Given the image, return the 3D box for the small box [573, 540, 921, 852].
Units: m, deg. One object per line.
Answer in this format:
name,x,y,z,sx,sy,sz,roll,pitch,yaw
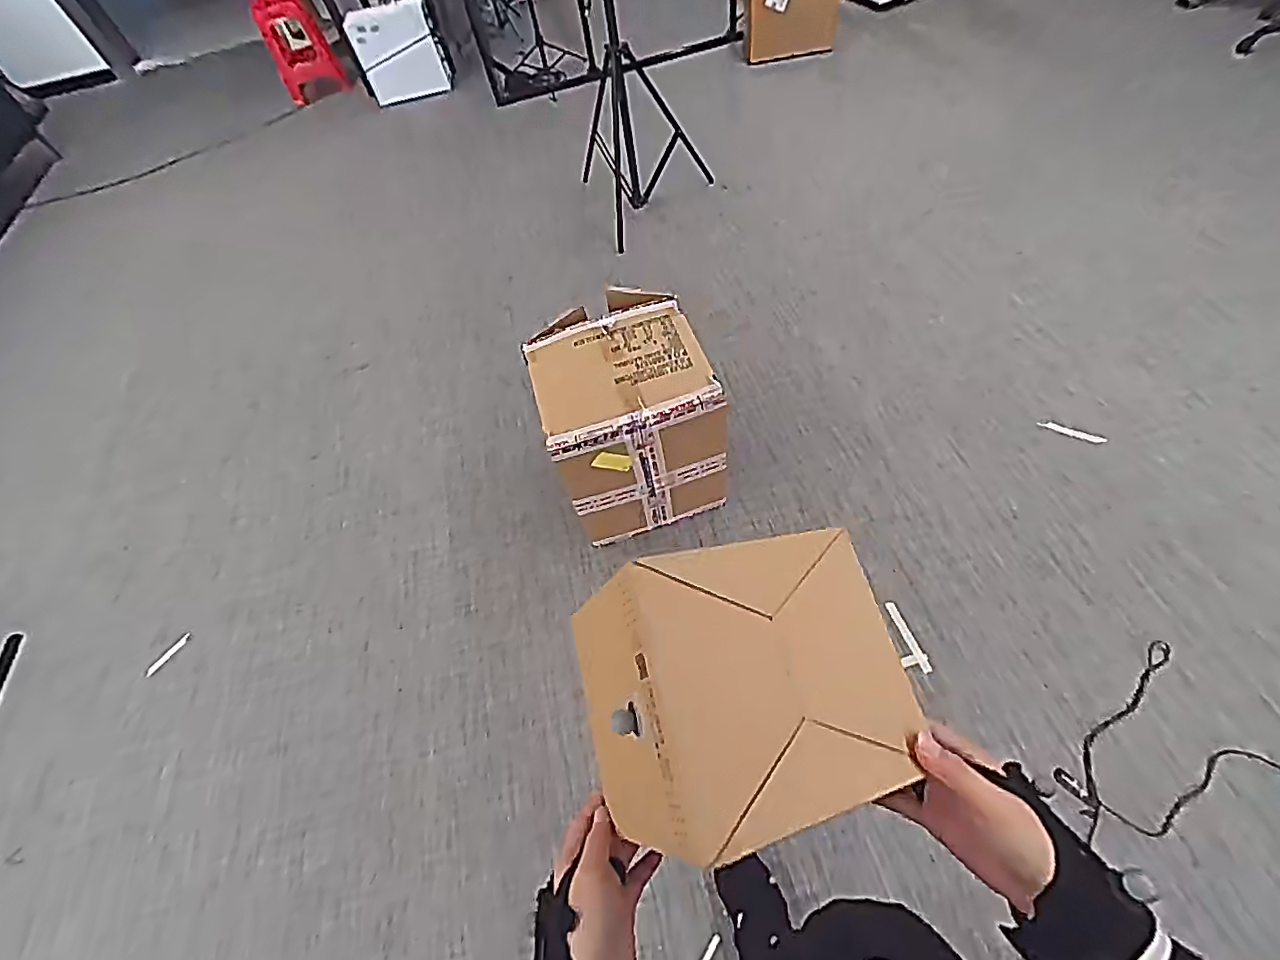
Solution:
small box,0.066,0.154,0.408,0.179,0.176,0.168,-5,65,-24
